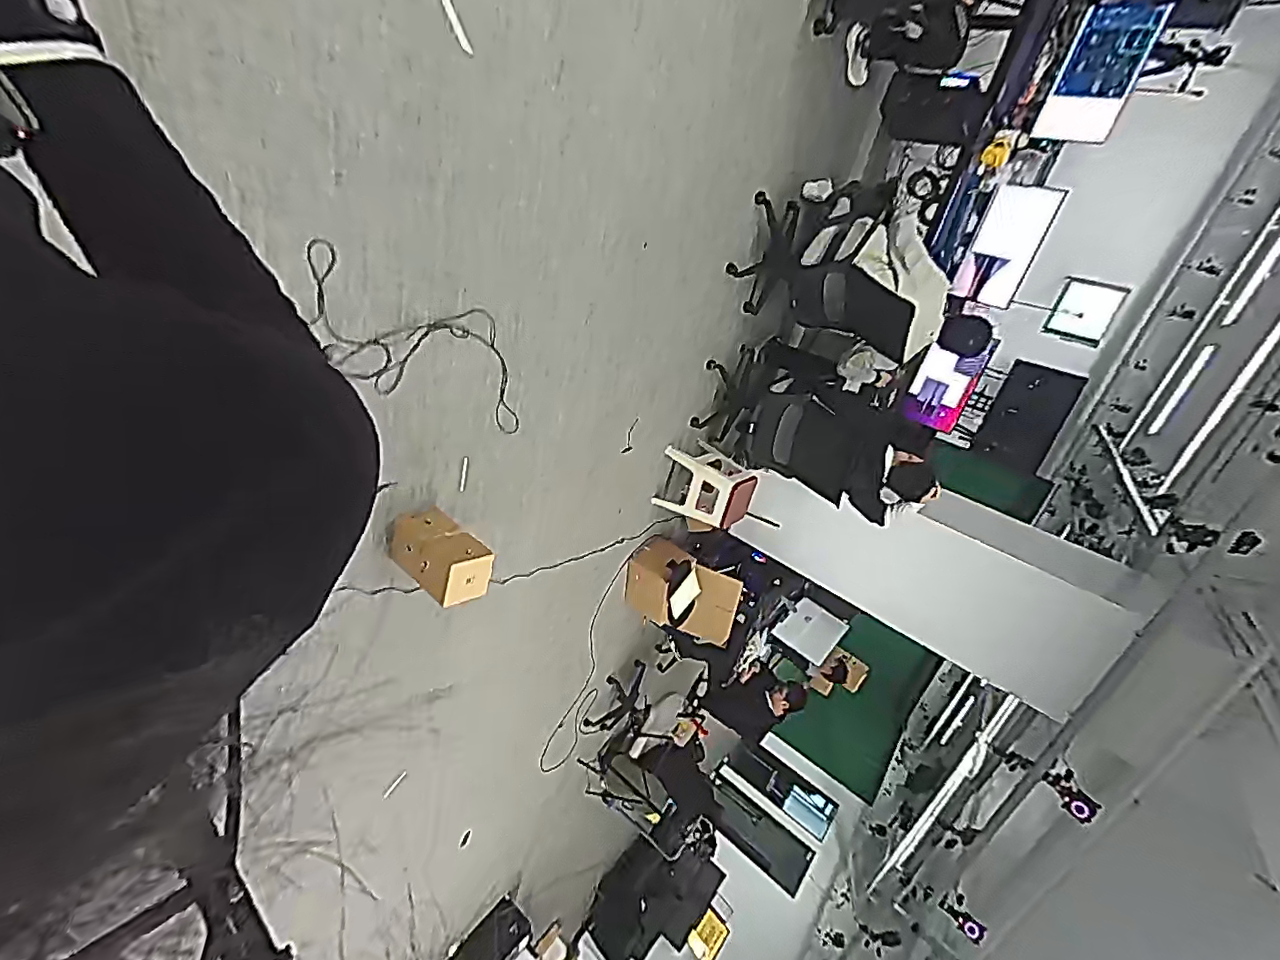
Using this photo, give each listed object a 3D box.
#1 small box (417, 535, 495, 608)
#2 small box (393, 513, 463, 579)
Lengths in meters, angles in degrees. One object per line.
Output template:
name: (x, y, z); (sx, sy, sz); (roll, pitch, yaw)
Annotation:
small box: (-0.625, 0.301, 1.835); (0.179, 0.176, 0.168); (-10, 122, -53)
small box: (-0.751, 0.230, 1.911); (0.168, 0.176, 0.179); (-17, 128, -51)
